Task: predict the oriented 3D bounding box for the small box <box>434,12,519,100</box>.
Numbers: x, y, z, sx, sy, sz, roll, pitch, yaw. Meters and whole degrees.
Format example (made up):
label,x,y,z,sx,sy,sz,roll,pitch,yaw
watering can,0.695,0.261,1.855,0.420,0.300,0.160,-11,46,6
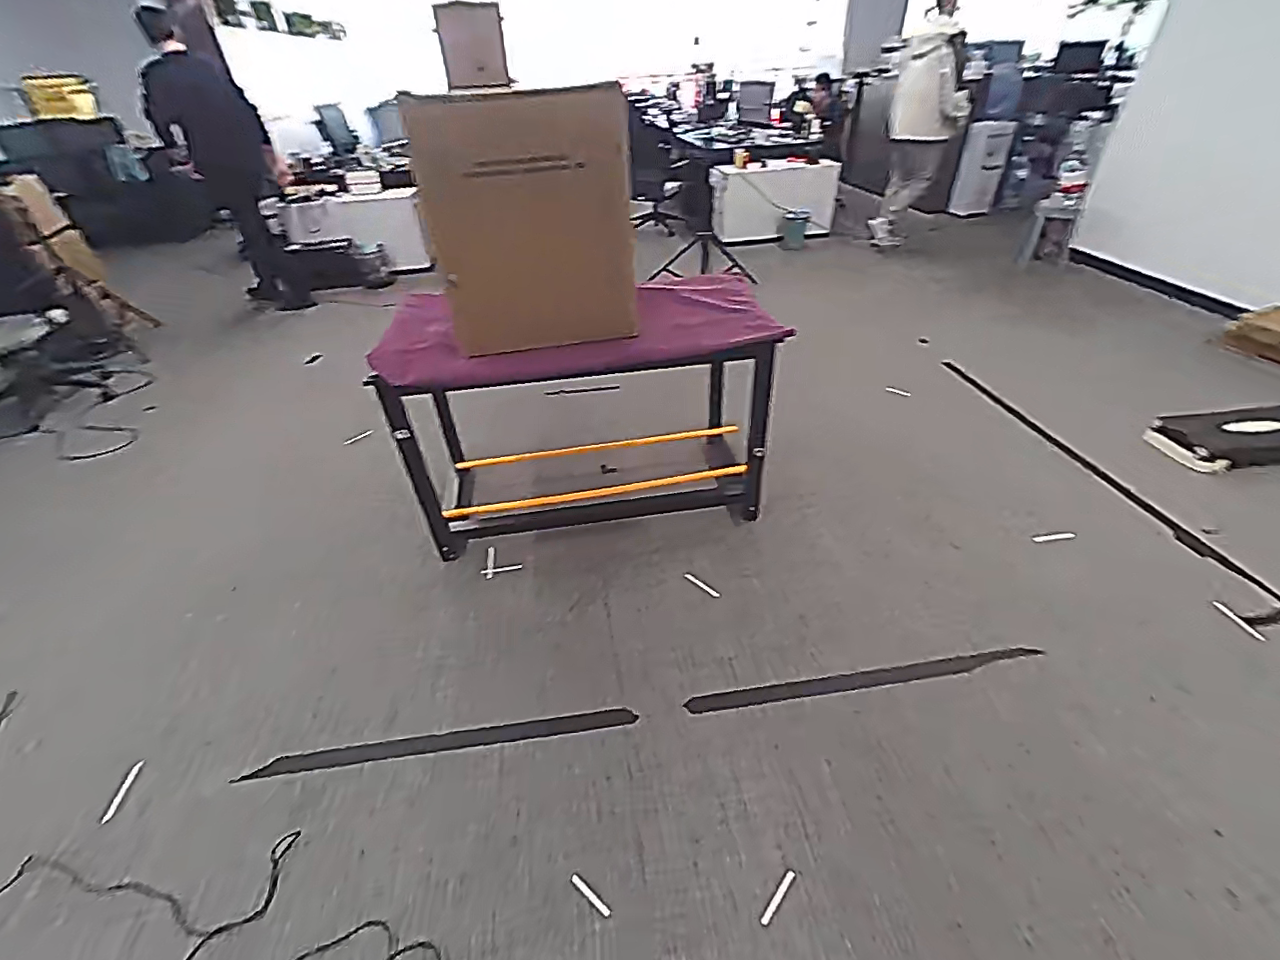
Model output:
label,x,y,z,sx,sy,sz,roll,pitch,yaw
small box,-0.417,-1.092,1.394,0.179,0.176,0.168,-9,38,-9
